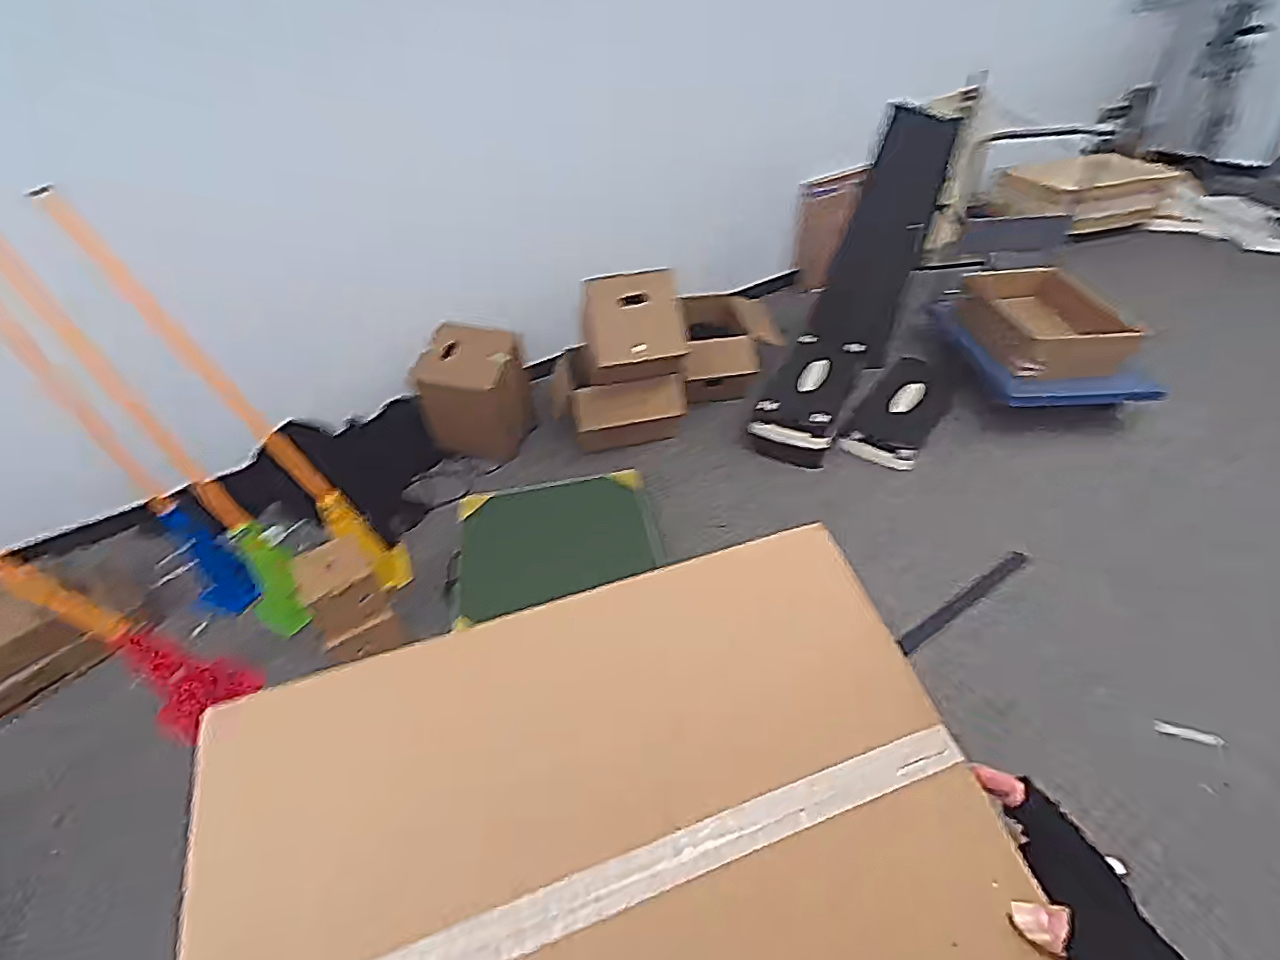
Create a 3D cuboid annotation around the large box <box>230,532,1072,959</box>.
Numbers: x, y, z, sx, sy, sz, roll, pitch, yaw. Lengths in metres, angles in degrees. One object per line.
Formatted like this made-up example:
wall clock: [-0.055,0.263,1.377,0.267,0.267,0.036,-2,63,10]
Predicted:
large box: [-0.009,0.293,0.410,0.408,0.320,0.320,-15,59,-11]
